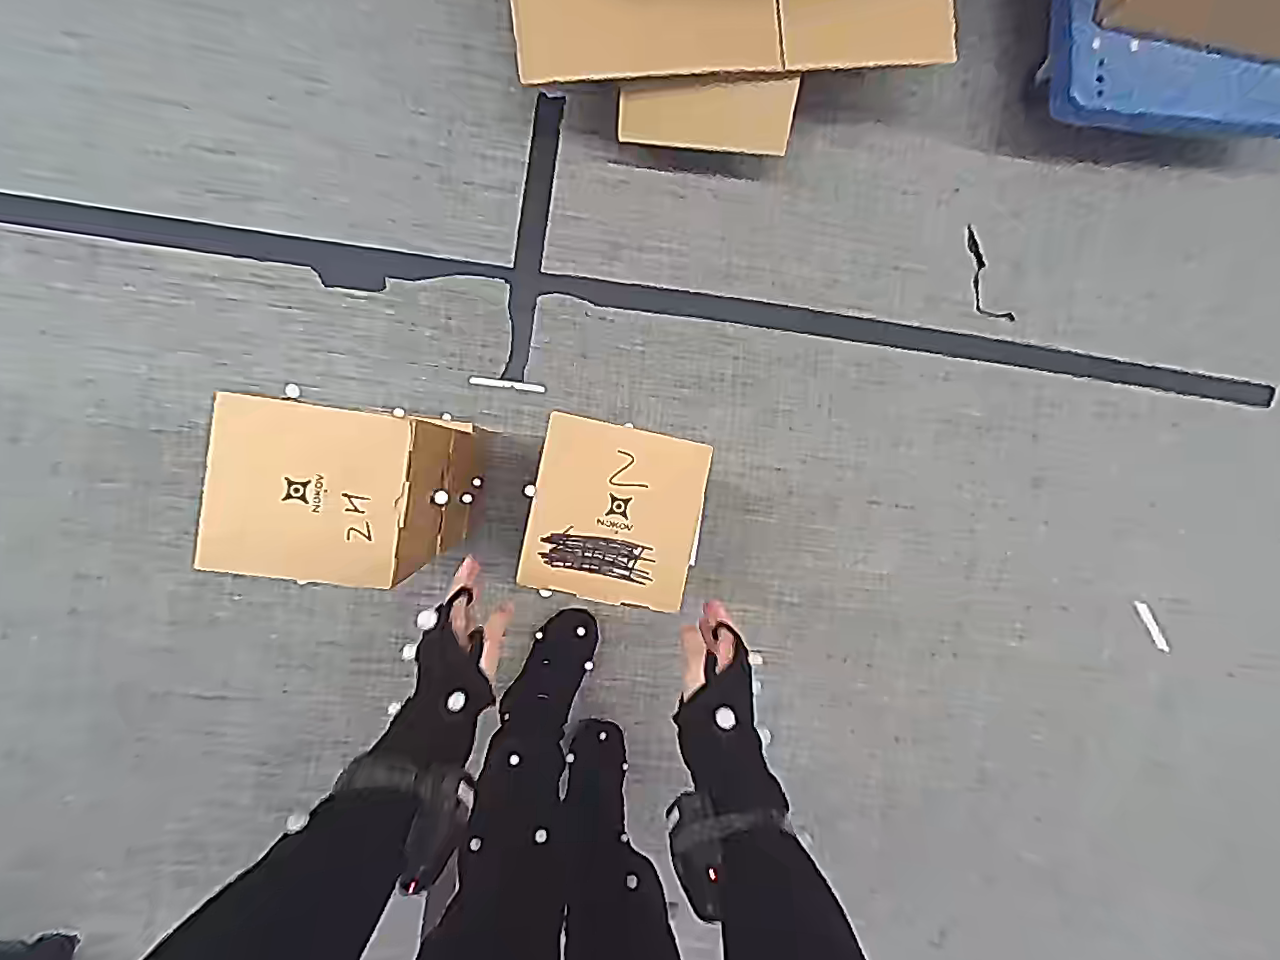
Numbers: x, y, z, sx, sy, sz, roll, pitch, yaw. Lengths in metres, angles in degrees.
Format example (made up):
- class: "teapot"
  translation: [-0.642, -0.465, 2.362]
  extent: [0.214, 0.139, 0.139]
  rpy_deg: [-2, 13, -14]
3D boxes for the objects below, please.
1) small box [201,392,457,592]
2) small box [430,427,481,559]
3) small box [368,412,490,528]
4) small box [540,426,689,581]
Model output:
- class: "small box"
  translation: [-0.310, 0.010, 0.575]
  extent: [0.179, 0.176, 0.168]
  rpy_deg: [8, 92, -8]
- class: "small box"
  translation: [-0.329, 0.005, 0.739]
  extent: [0.179, 0.176, 0.168]
  rpy_deg: [7, 91, -8]
- class: "small box"
  translation: [-0.350, -0.009, 0.900]
  extent: [0.168, 0.176, 0.179]
  rpy_deg: [6, 90, -8]
- class: "small box"
  translation: [-0.040, 0.029, 0.770]
  extent: [0.168, 0.176, 0.179]
  rpy_deg: [11, 90, -7]
